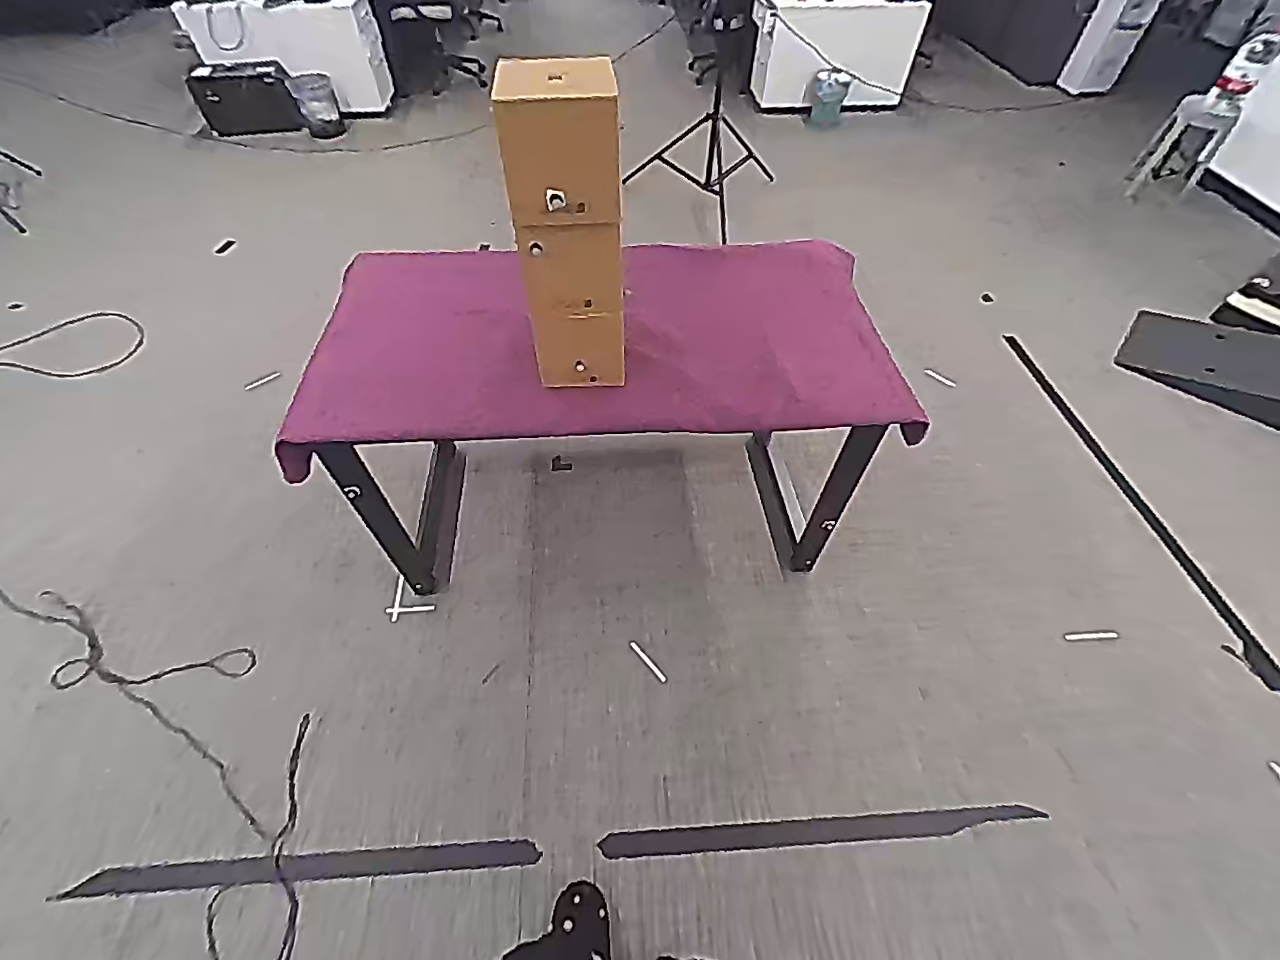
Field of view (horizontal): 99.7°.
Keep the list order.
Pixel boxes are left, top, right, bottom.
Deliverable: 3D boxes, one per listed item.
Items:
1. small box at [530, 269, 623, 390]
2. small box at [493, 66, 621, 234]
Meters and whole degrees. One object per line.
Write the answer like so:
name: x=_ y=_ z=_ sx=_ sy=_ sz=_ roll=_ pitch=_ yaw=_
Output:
small box: x=-0.118 y=-0.298 z=1.072 sx=0.168 sy=0.176 sz=0.179 roll=-2 pitch=52 yaw=-2
small box: x=-0.117 y=-0.492 z=0.809 sx=0.168 sy=0.176 sz=0.179 roll=-6 pitch=52 yaw=-4
